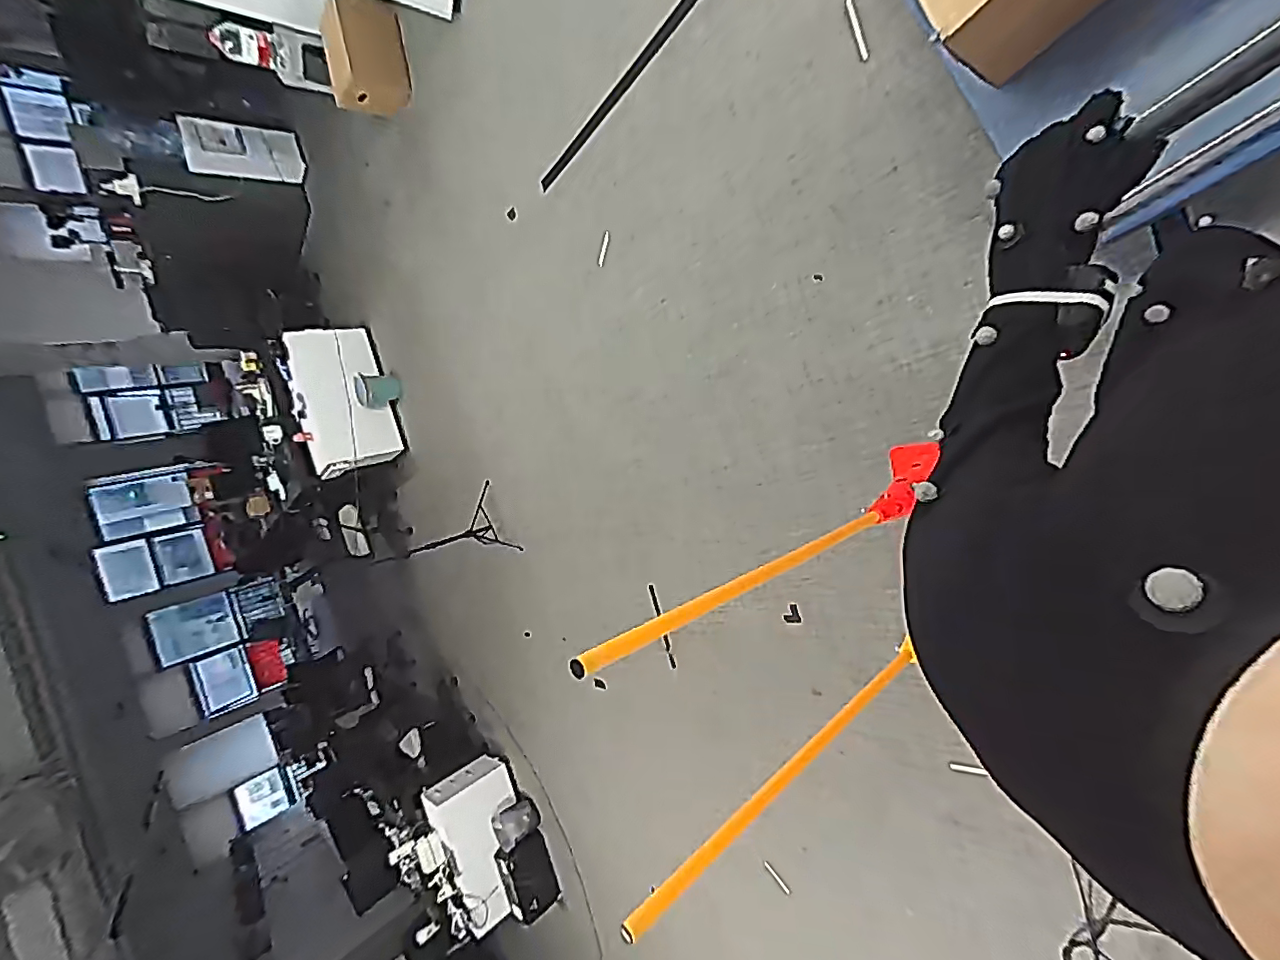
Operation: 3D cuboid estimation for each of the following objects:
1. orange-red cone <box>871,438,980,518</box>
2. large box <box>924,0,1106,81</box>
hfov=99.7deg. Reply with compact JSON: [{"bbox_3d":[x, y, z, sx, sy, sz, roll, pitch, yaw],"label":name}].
[{"bbox_3d":[0.657,0.029,1.317,0.198,0.360,0.199,-5,98,48],"label":"orange-red cone"},{"bbox_3d":[0.629,-0.906,0.782,0.408,0.320,0.320,-30,81,50],"label":"large box"}]
